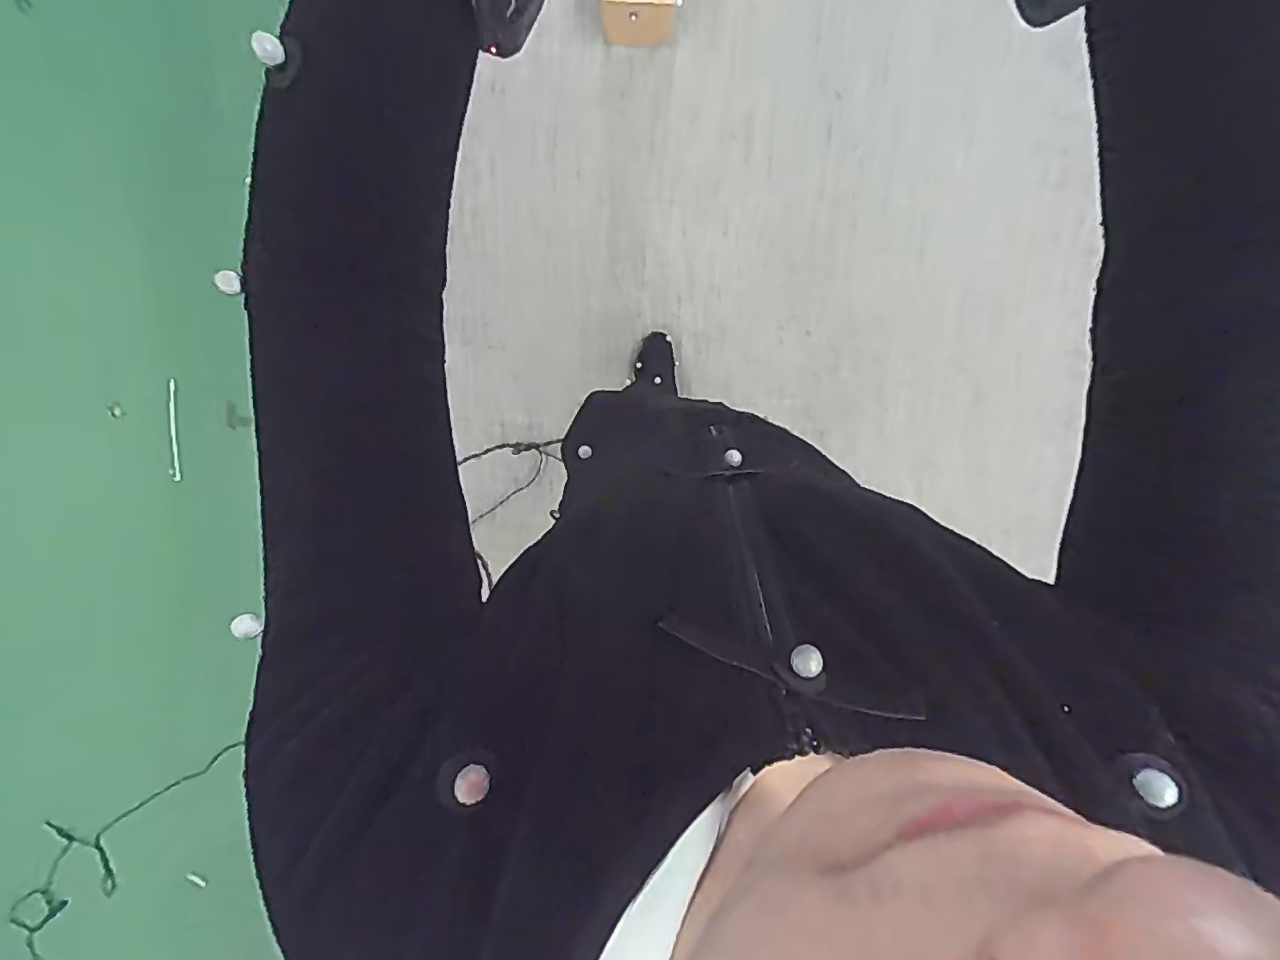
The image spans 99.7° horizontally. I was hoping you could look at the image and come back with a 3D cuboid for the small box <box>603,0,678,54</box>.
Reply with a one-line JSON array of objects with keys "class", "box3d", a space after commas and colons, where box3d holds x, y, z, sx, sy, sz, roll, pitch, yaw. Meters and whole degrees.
[{"class": "small box", "box3d": [0.006, -1.207, 1.351, 0.179, 0.176, 0.168, 3, 99, 1]}]
